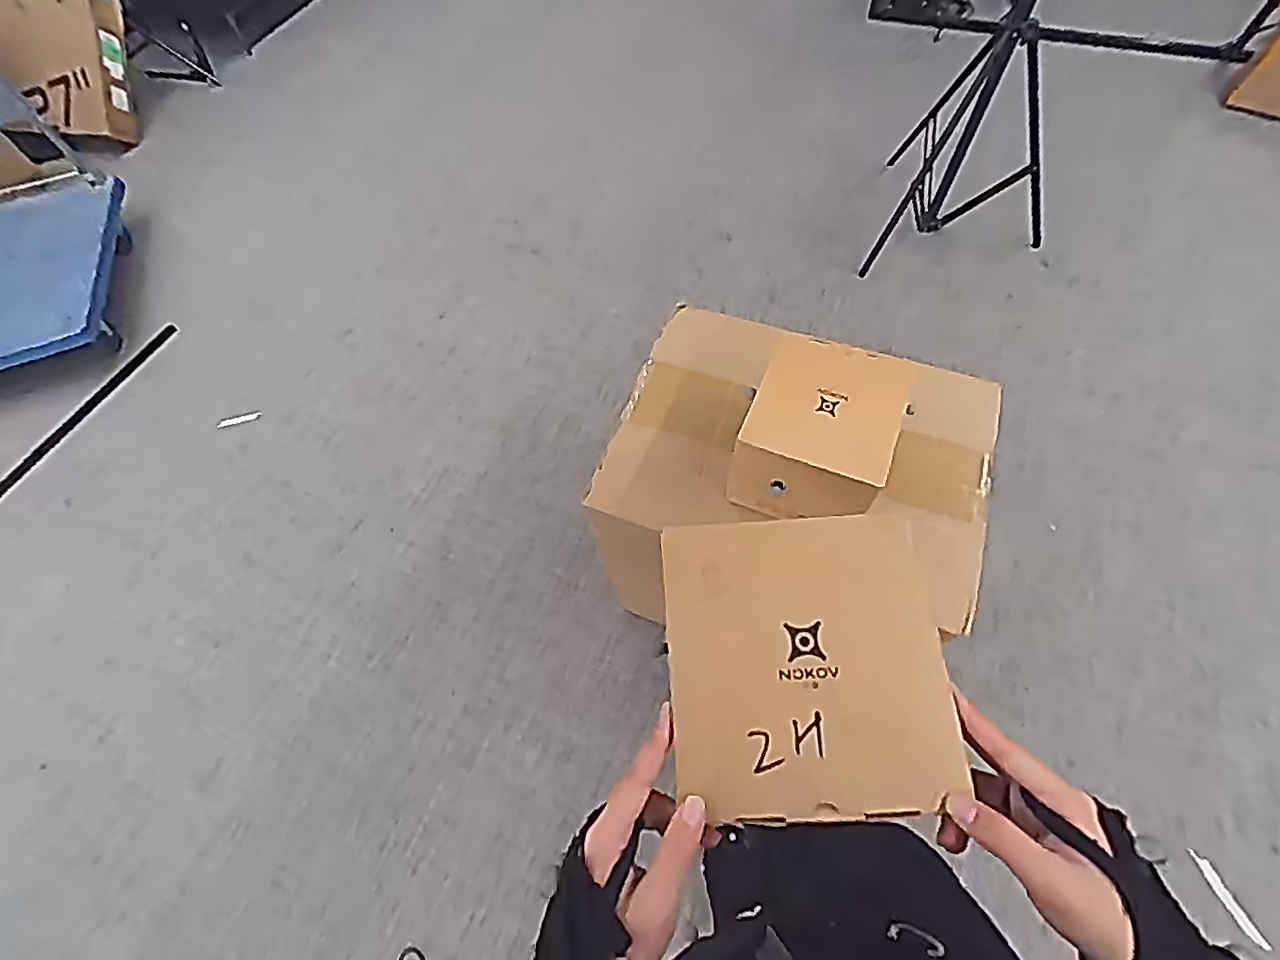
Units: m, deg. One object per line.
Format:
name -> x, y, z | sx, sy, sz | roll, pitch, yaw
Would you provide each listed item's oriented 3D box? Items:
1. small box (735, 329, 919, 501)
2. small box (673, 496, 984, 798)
small box -> 0.227, -0.055, 0.692 | 0.168, 0.176, 0.179 | 20, 65, 15
small box -> 0.109, 0.123, 0.402 | 0.168, 0.176, 0.179 | -3, 69, 3
